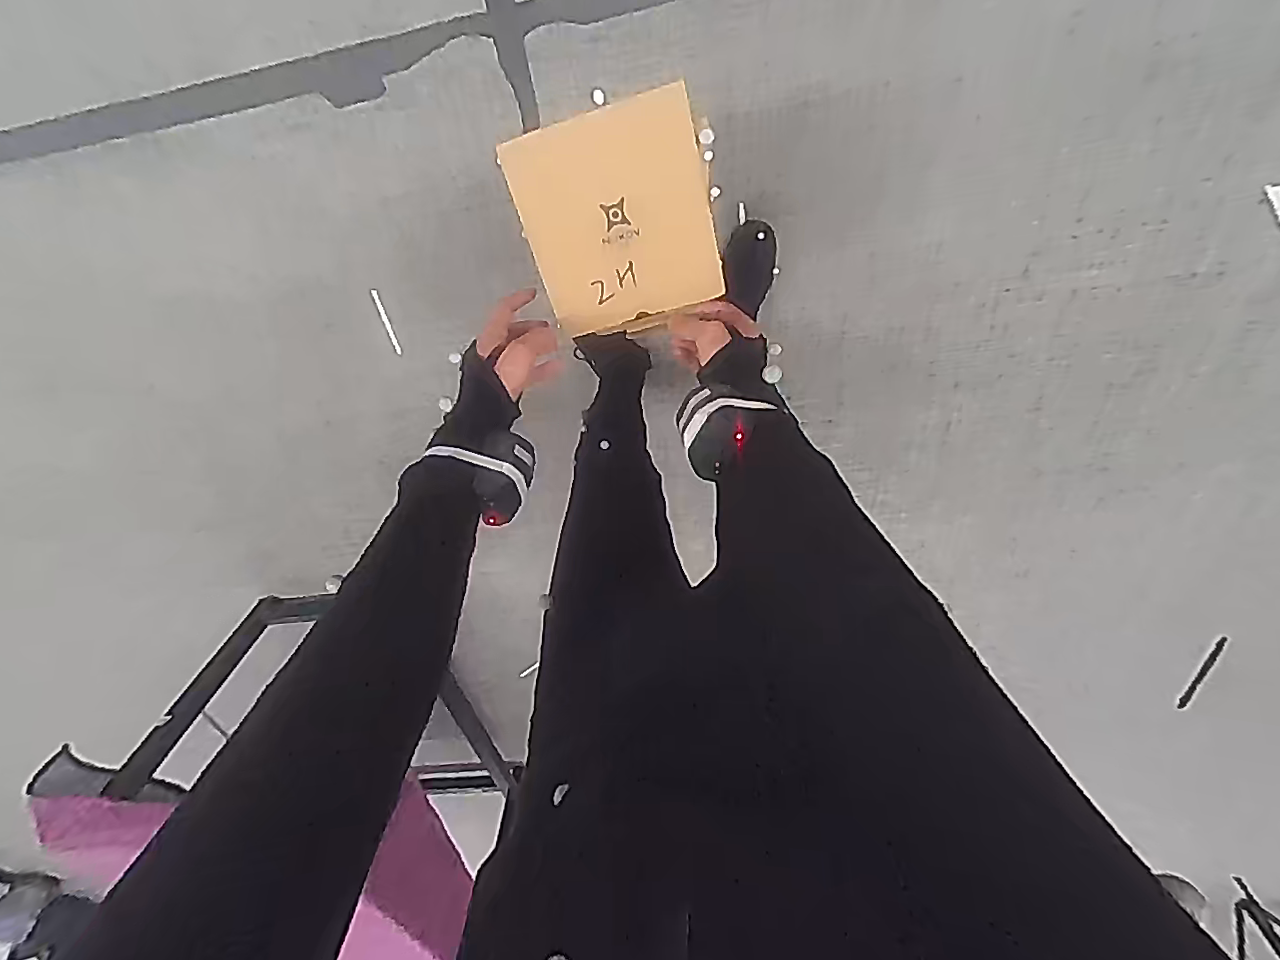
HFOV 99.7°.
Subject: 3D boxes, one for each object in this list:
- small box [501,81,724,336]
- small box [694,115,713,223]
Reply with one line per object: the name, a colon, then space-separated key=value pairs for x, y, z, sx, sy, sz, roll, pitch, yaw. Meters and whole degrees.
small box: x=-0.016 y=-0.274 z=0.549 sx=0.168 sy=0.176 sz=0.179 roll=-11 pitch=124 yaw=11
small box: x=0.023 y=-0.448 z=0.827 sx=0.168 sy=0.176 sz=0.179 roll=-3 pitch=126 yaw=5
